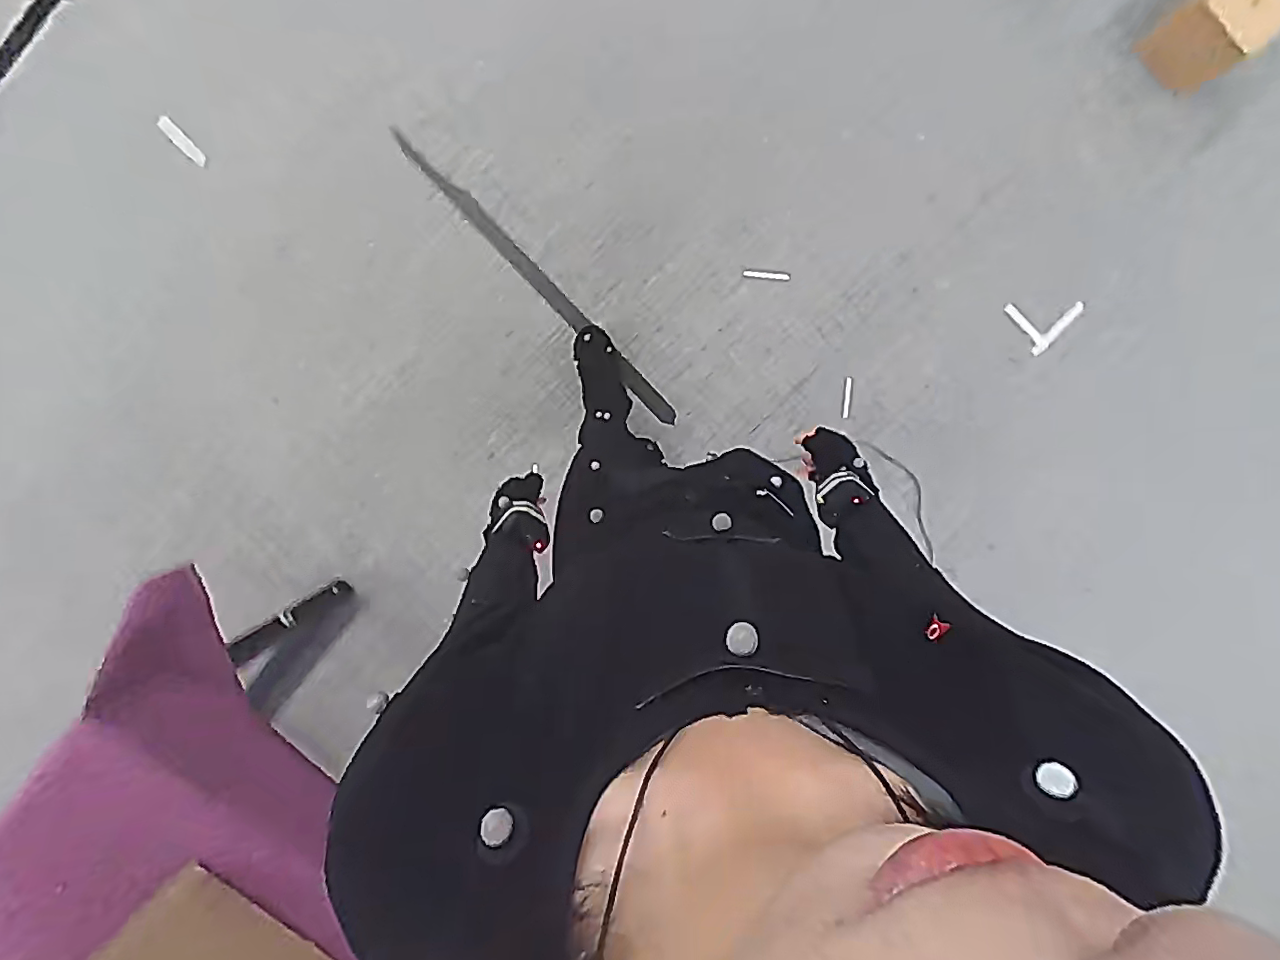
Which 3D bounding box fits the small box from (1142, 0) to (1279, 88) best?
[{"bbox_3d":[1.363,-1.086,1.275,0.179,0.176,0.168,43,98,-6],"label":"small box"}]
